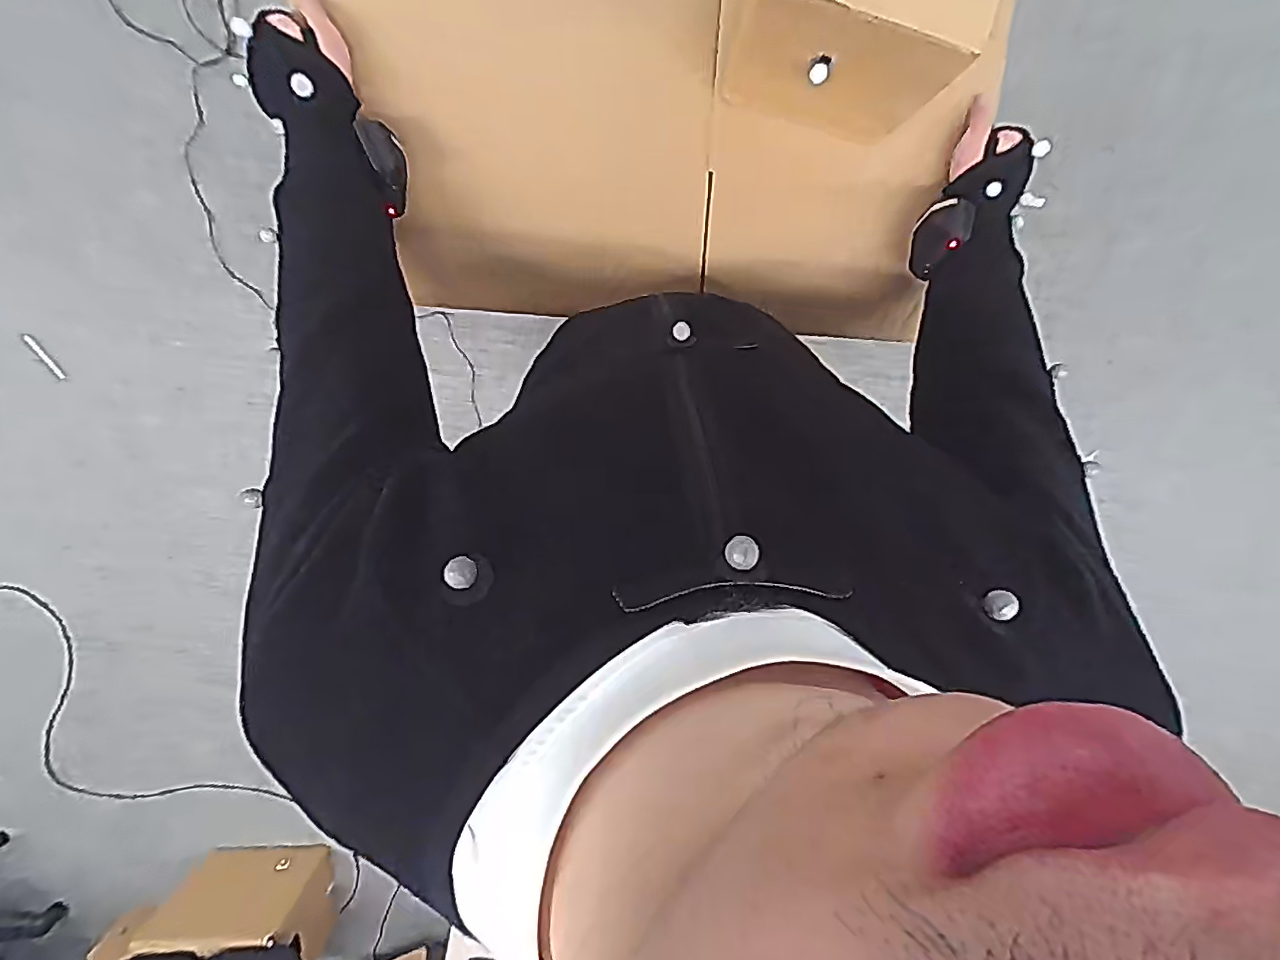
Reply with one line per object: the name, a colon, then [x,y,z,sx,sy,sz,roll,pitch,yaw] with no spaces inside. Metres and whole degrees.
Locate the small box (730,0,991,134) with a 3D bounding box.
small box: [0.191,-0.440,0.472,0.179,0.176,0.168,14,100,-4]
